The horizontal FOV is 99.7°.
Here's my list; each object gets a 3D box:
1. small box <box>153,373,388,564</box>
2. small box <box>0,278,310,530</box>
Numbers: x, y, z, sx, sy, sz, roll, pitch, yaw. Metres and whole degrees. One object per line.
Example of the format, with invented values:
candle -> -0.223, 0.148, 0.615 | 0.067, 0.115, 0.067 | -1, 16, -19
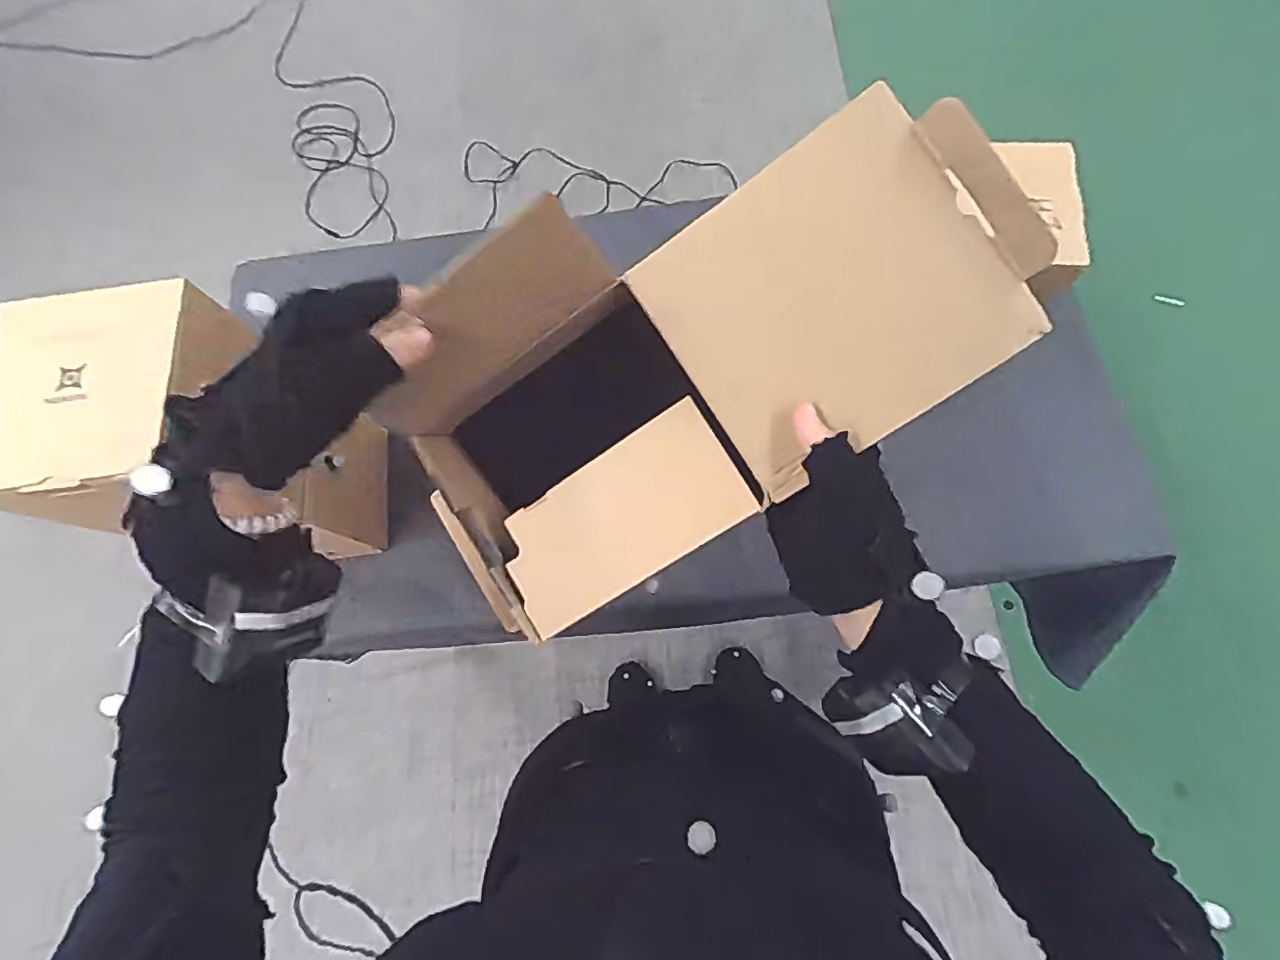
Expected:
small box -> -0.428, -0.005, 0.659 | 0.168, 0.176, 0.179 | -8, 72, 2
small box -> -0.441, -0.055, 0.504 | 0.168, 0.176, 0.179 | -7, 72, 1
